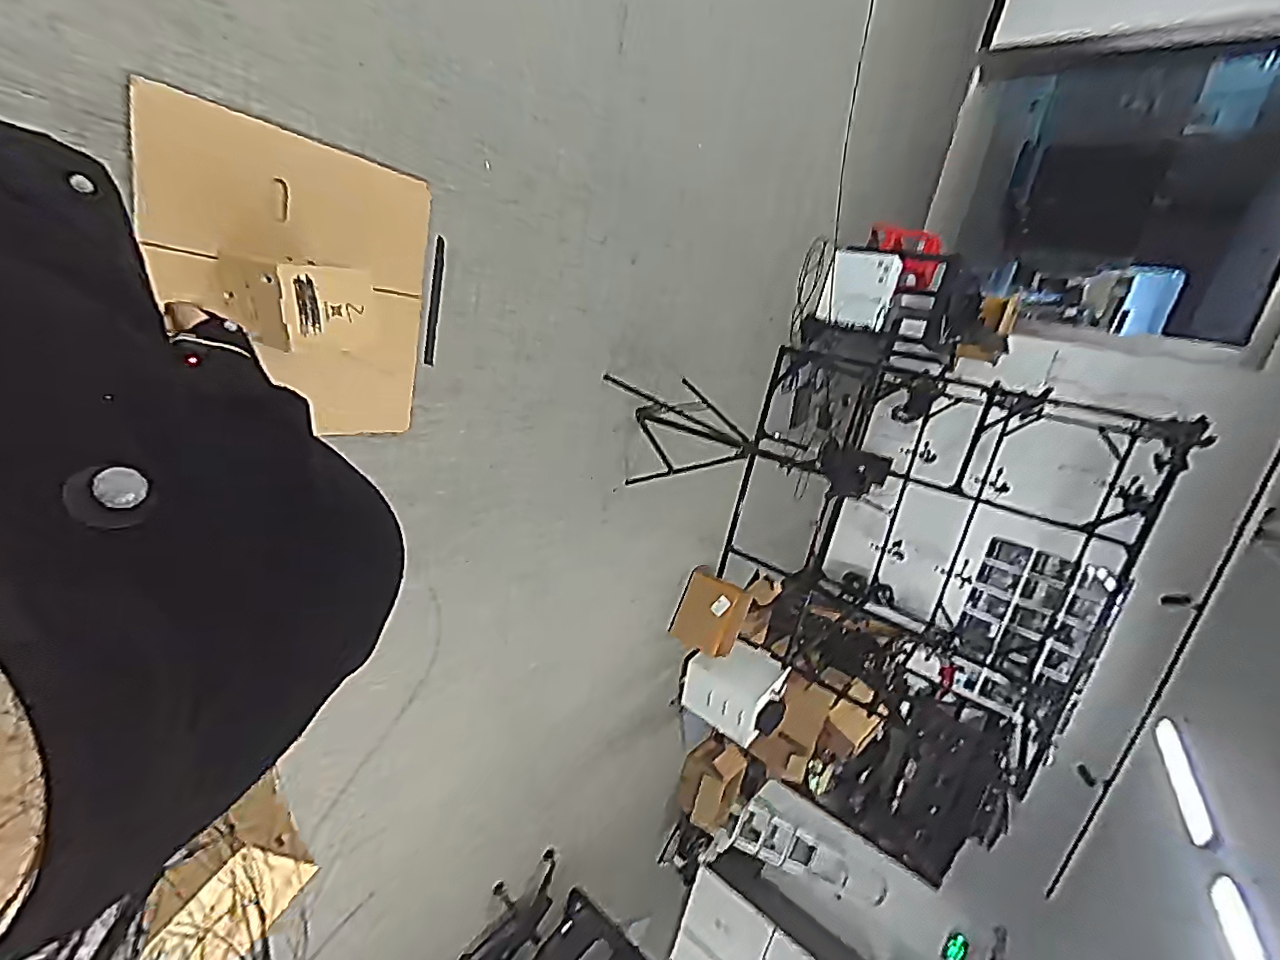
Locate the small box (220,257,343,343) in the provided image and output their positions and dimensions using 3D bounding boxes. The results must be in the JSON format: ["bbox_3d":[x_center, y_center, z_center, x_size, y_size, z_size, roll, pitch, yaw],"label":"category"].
[{"bbox_3d":[-0.797,-0.401,1.208,0.179,0.176,0.168,-18,120,-48],"label":"small box"}]

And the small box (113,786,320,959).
[{"bbox_3d":[-0.661,0.619,0.850,0.168,0.176,0.179,-48,141,-27],"label":"small box"}]
